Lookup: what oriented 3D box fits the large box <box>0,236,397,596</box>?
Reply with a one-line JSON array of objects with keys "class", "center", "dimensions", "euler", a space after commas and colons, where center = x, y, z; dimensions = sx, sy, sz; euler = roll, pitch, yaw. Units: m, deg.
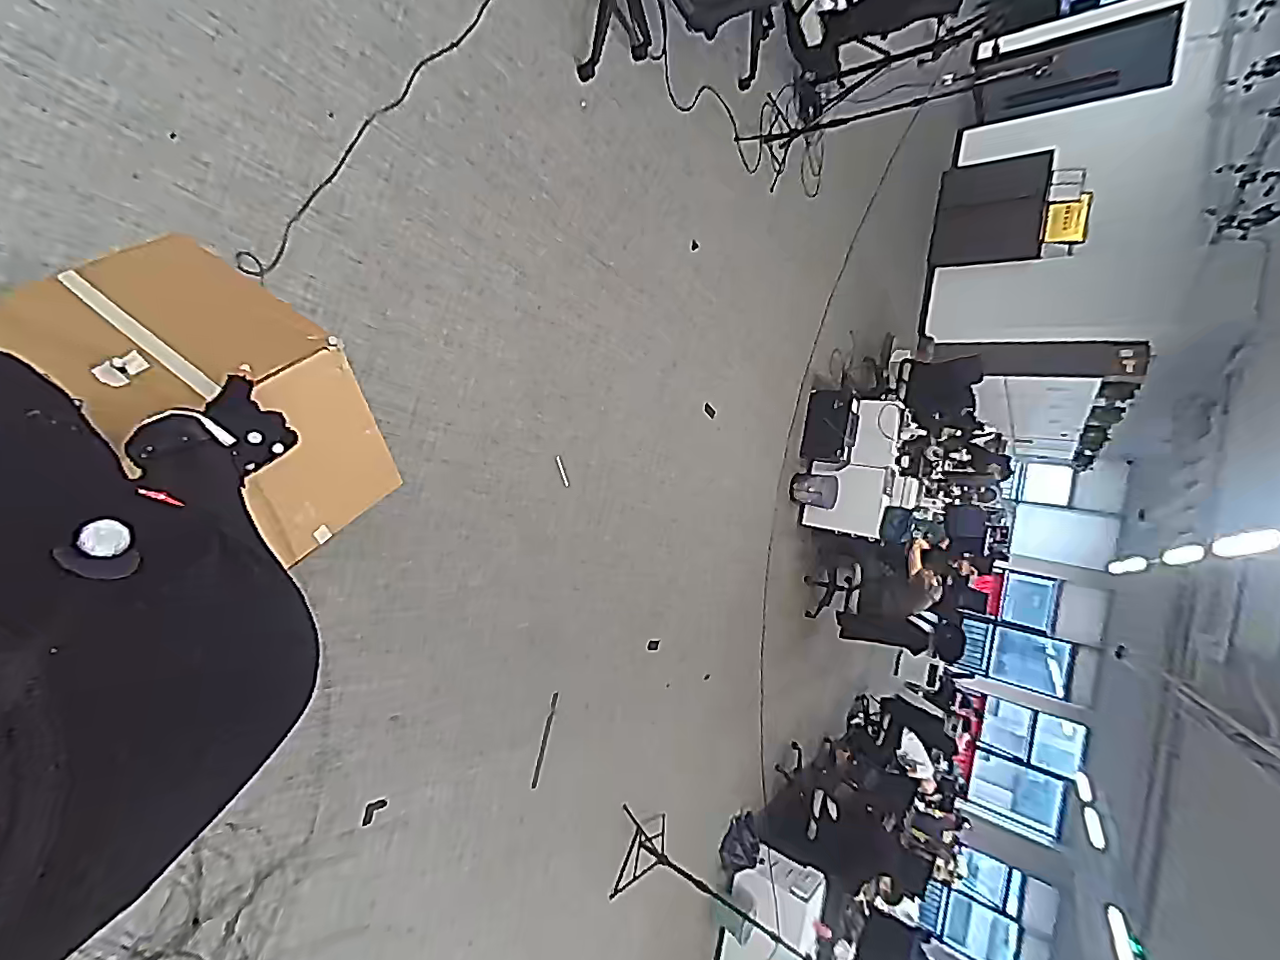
[{"class": "large box", "center": [-0.664, -0.101, 0.829], "dimensions": [0.320, 0.408, 0.320], "euler": [-47, 160, -30]}]
